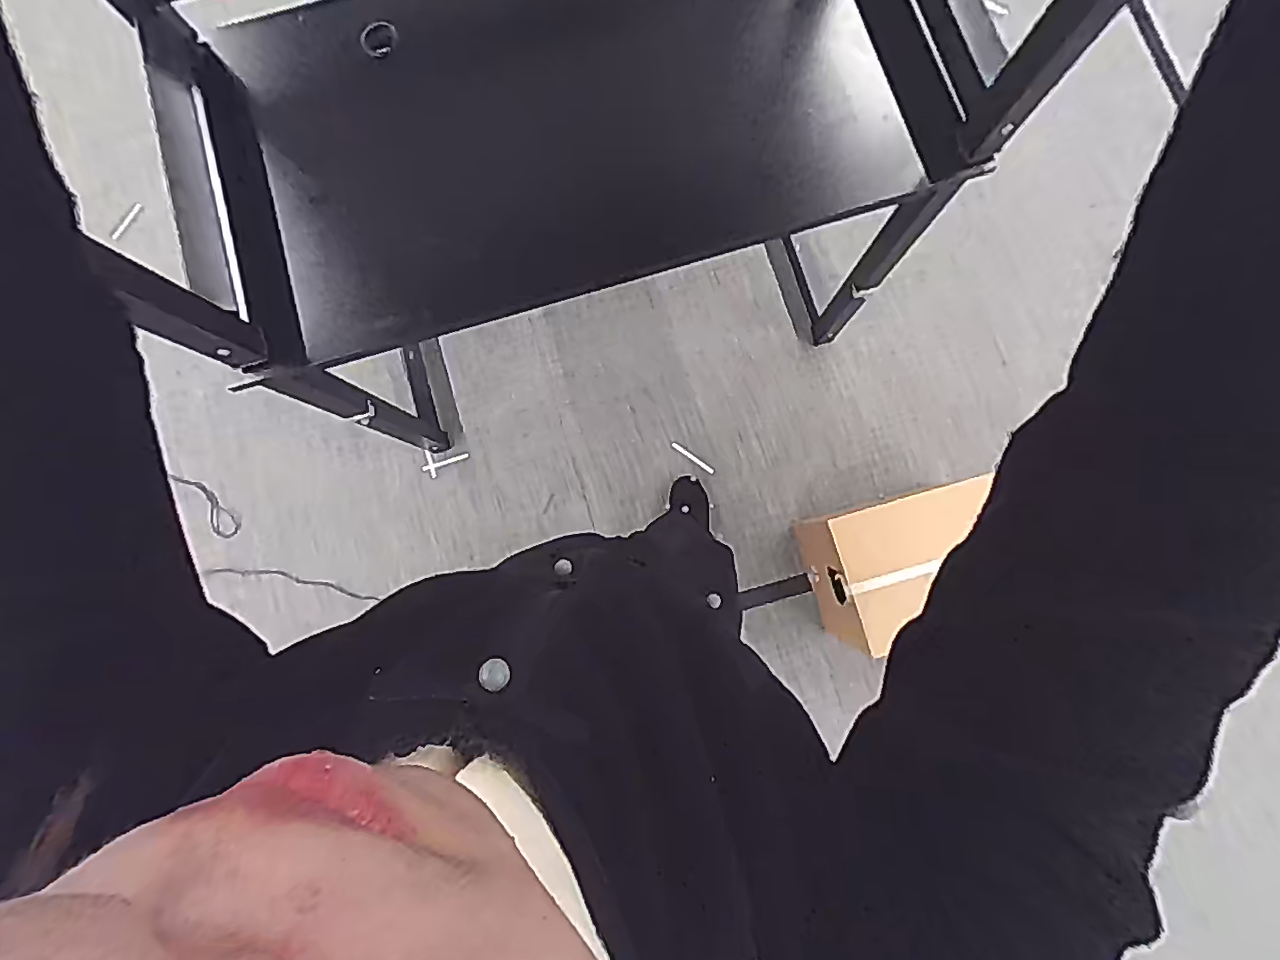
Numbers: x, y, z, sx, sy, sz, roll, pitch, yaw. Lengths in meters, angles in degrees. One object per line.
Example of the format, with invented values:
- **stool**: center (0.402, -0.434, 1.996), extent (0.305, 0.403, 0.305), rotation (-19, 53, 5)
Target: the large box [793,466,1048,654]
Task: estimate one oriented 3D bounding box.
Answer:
- **large box**: center (0.645, 0.189, 1.317), extent (0.408, 0.320, 0.320), rotation (-16, 84, -1)
